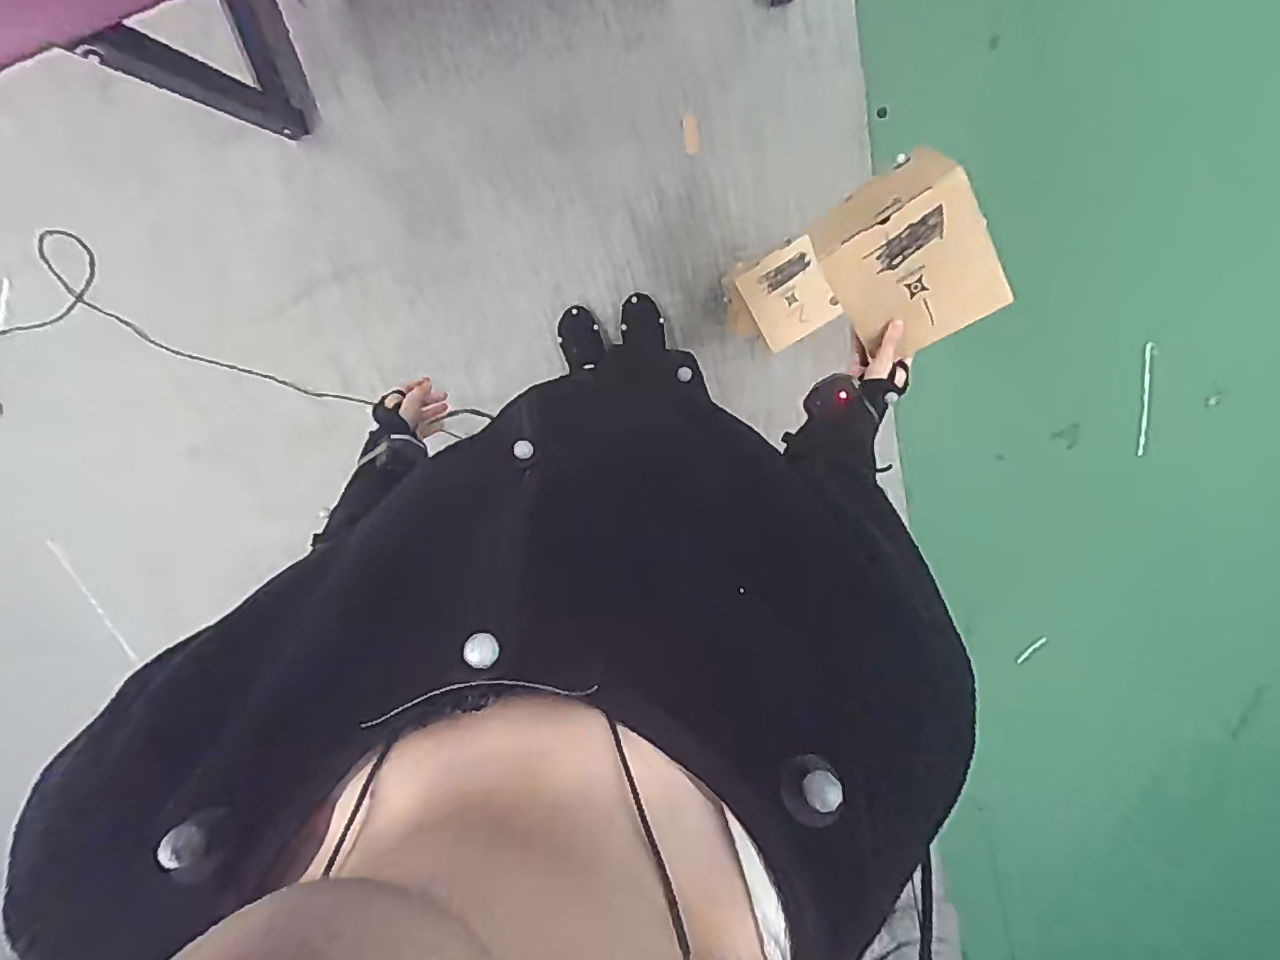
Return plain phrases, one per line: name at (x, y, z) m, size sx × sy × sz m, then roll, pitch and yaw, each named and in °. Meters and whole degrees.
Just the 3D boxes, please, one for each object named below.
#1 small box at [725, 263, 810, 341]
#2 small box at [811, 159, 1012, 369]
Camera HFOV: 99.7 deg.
small box at (0.300, -0.430, 1.311) m, size 0.179 × 0.176 × 0.168 m, roll -3°, pitch 110°, yaw 2°
small box at (0.338, -0.284, 0.701) m, size 0.168 × 0.176 × 0.179 m, roll -27°, pitch 119°, yaw 29°
